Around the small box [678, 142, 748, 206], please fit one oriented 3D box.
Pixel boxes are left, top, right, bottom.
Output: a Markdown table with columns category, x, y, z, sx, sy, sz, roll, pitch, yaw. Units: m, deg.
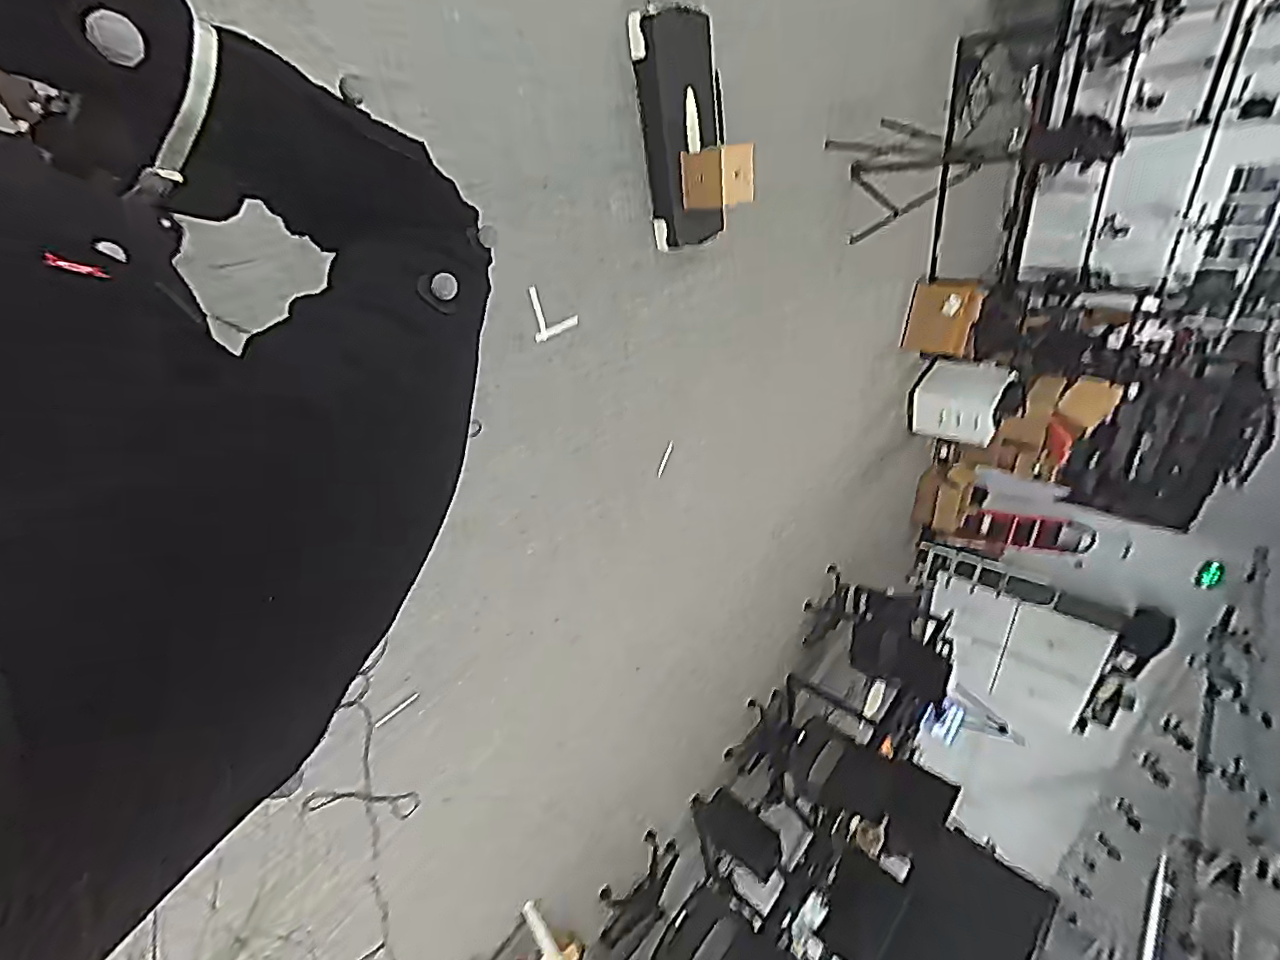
| category | x | y | z | sx | sy | sz | roll | pitch | yaw |
| --- | --- | --- | --- | --- | --- | --- | --- | --- | --- |
| small box | 0.237 | -1.007 | 1.782 | 0.179 | 0.176 | 0.168 | -32 | 129 | -37 |
